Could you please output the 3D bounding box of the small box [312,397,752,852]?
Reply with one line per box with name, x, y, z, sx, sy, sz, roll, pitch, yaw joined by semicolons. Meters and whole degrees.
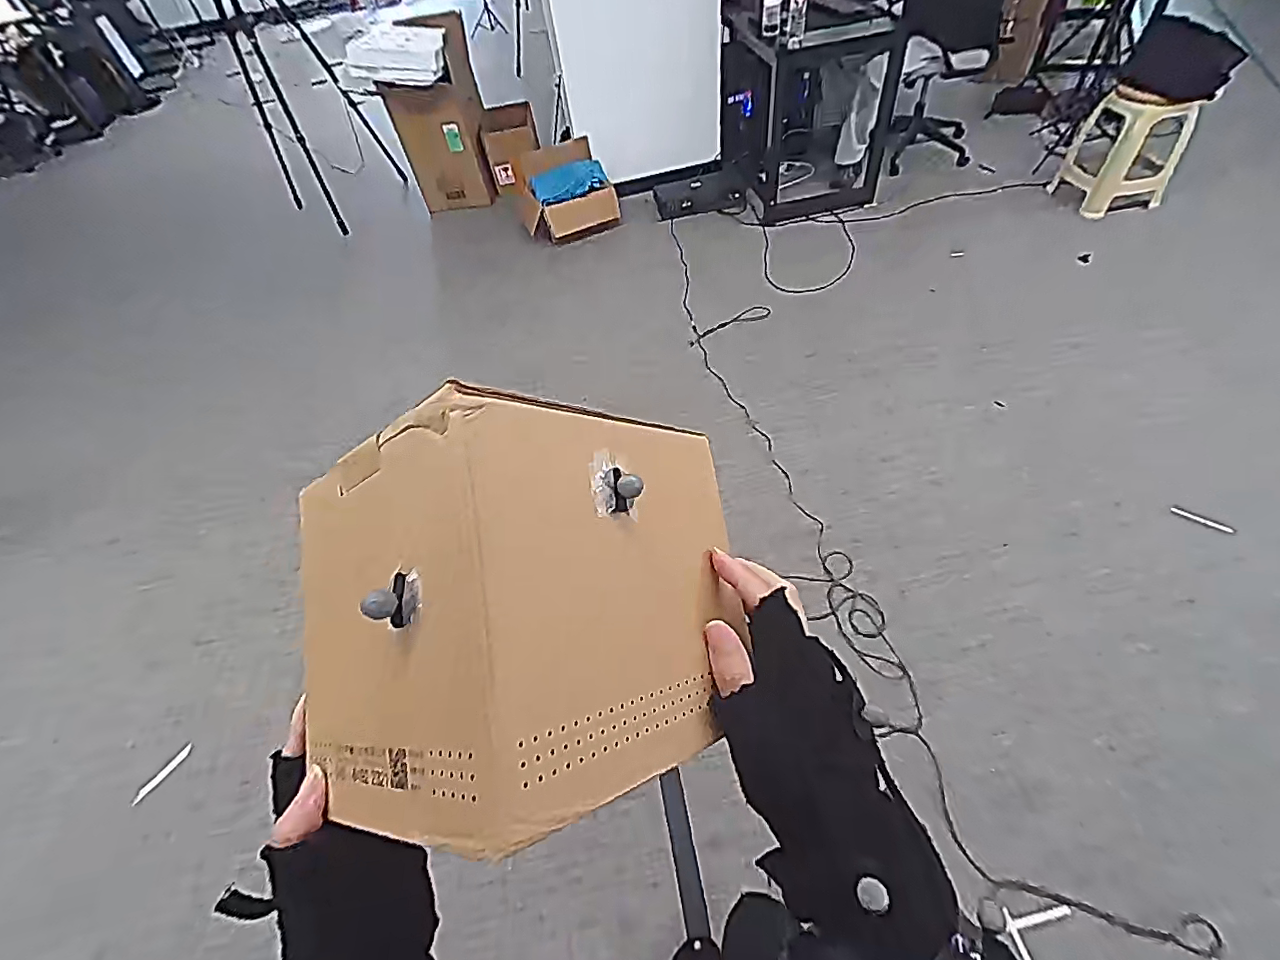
small box;-0.057;0.073;0.302;0.168;0.179;0.176;-20;74;40
